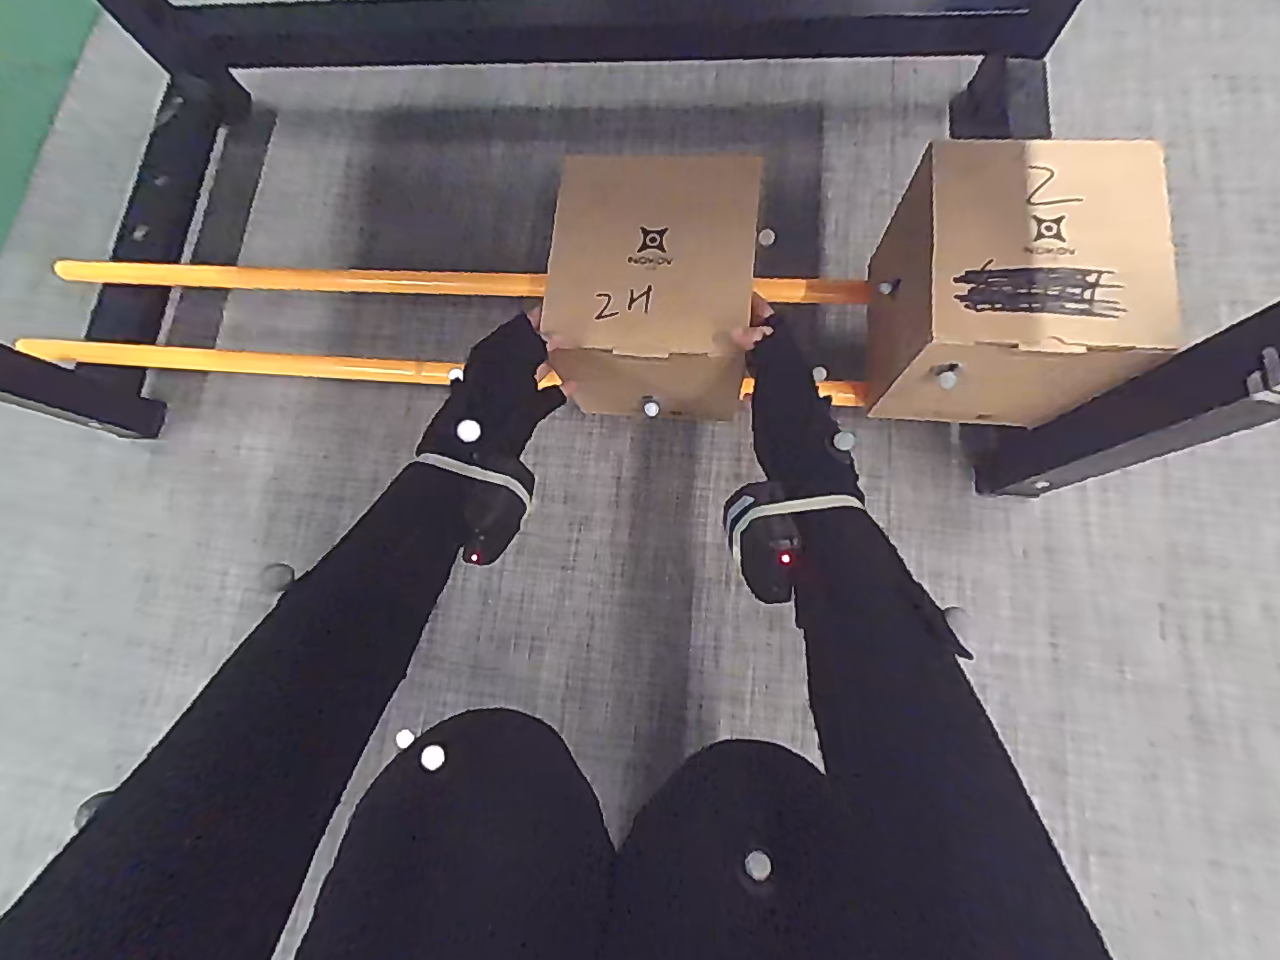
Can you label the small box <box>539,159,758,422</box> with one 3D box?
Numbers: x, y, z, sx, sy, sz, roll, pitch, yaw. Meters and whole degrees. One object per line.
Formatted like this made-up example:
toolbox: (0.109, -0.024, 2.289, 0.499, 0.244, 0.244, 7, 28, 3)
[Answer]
small box: (0.016, -0.168, 0.516, 0.168, 0.176, 0.179, 4, 79, 8)
